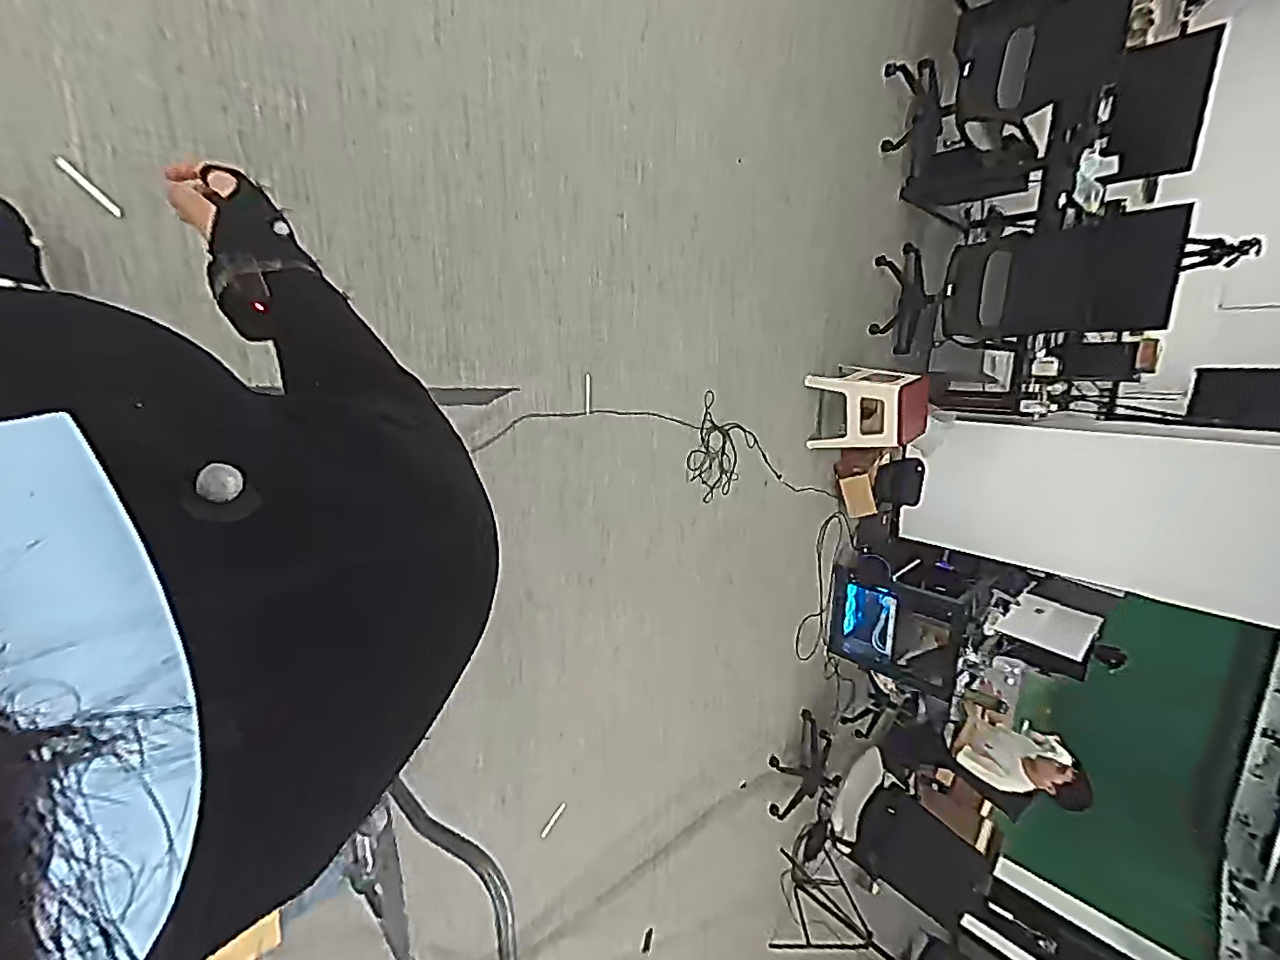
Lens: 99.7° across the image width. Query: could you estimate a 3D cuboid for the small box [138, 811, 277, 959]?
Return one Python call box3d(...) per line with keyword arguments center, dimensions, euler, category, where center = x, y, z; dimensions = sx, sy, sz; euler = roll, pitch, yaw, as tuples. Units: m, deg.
box3d(center=(-0.751, 0.733, 0.941), dimensions=(0.168, 0.176, 0.179), euler=(-9, 104, -42), category="small box")
